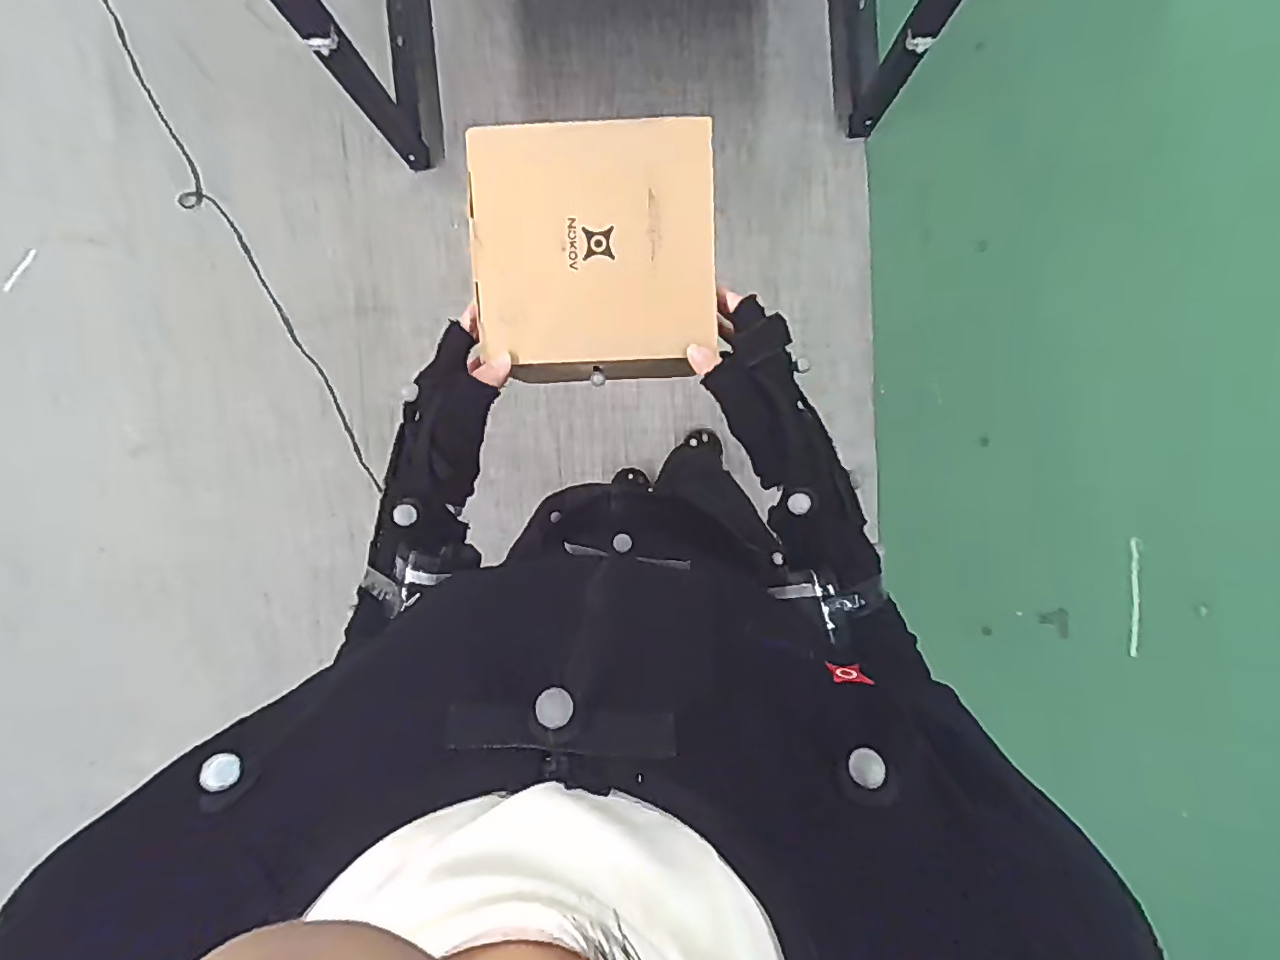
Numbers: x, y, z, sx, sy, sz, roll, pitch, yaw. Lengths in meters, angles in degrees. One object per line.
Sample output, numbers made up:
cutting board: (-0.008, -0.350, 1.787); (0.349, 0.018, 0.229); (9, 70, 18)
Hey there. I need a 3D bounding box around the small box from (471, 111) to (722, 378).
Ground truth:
small box: (-0.029, -0.181, 0.468); (0.179, 0.176, 0.168); (-4, 96, 1)
